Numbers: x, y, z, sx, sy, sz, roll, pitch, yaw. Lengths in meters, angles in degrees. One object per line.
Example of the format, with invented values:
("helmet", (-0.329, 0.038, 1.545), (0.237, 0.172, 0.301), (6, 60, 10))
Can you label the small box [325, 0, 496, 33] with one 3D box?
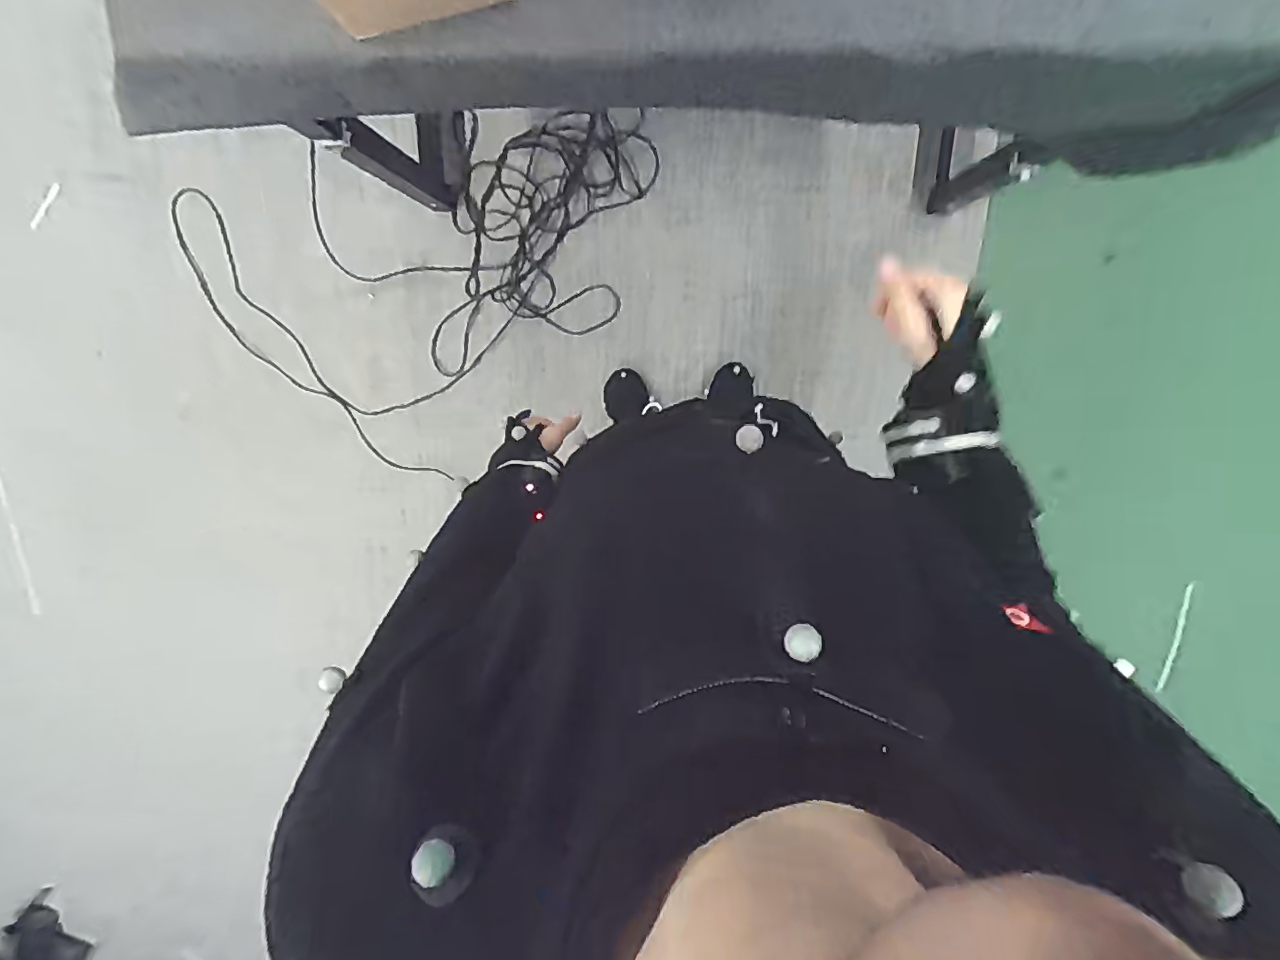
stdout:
("small box", (-0.215, -0.514, 0.437), (0.179, 0.176, 0.168), (-9, 102, 5))
